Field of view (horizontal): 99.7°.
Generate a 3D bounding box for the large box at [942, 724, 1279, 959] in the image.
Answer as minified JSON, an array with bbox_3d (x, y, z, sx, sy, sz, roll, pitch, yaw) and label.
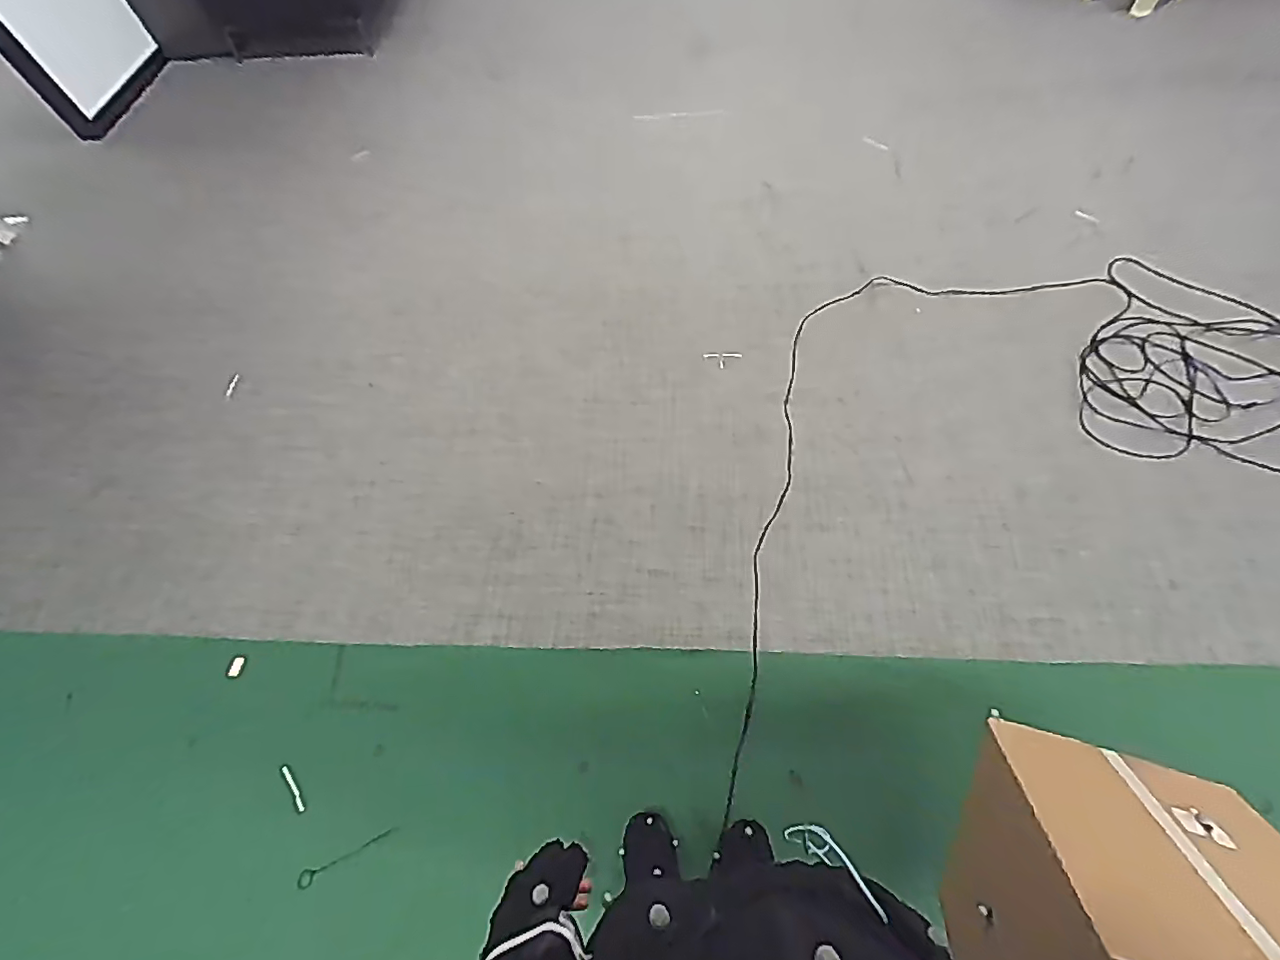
[{"bbox_3d":[0.599,0.579,0.642,0.320,0.408,0.320,13,101,17],"label":"large box"}]
